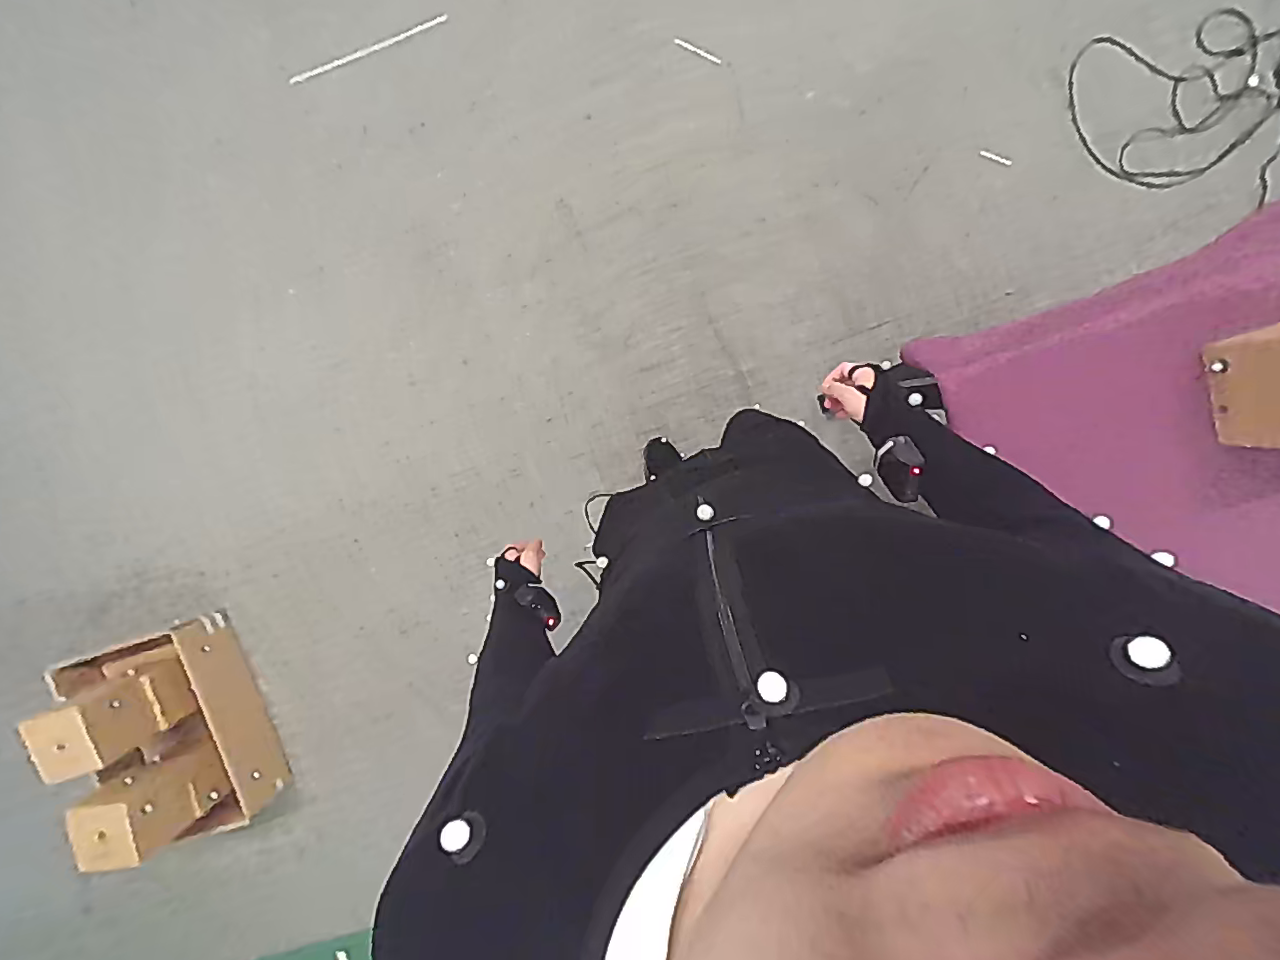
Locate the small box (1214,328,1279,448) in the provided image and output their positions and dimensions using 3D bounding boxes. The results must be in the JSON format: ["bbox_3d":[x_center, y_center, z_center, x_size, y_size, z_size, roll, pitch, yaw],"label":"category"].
[{"bbox_3d":[0.999,-0.144,0.784,0.179,0.176,0.168,-17,97,3],"label":"small box"}]

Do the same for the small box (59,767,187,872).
[{"bbox_3d":[-1.359,0.887,1.433,0.168,0.176,0.179,-7,95,2],"label":"small box"}]
